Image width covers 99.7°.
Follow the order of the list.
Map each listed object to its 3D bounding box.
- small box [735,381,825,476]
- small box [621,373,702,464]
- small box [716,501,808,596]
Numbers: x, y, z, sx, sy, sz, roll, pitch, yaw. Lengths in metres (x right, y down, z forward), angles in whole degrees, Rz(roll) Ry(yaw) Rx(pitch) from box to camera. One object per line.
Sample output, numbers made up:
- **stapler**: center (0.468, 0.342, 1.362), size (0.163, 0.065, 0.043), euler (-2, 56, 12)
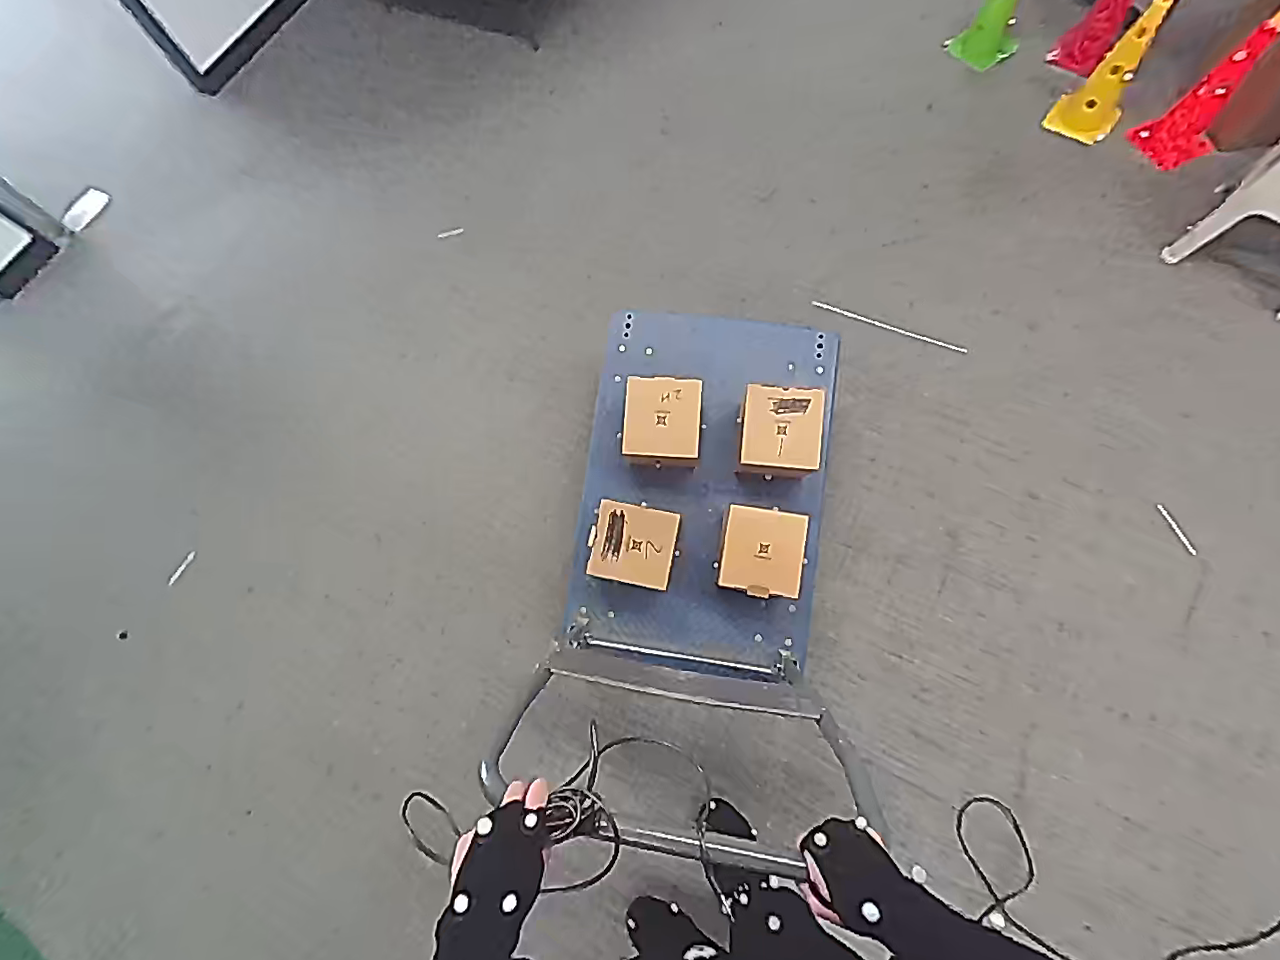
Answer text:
- **small box**: center (0.309, -0.110, 1.225), size (0.168, 0.176, 0.179), euler (6, 85, 6)
- **small box**: center (0.054, -0.135, 1.251), size (0.168, 0.176, 0.179), euler (4, 84, 5)
- **small box**: center (0.263, 0.150, 1.203), size (0.168, 0.176, 0.179), euler (9, 85, 6)
